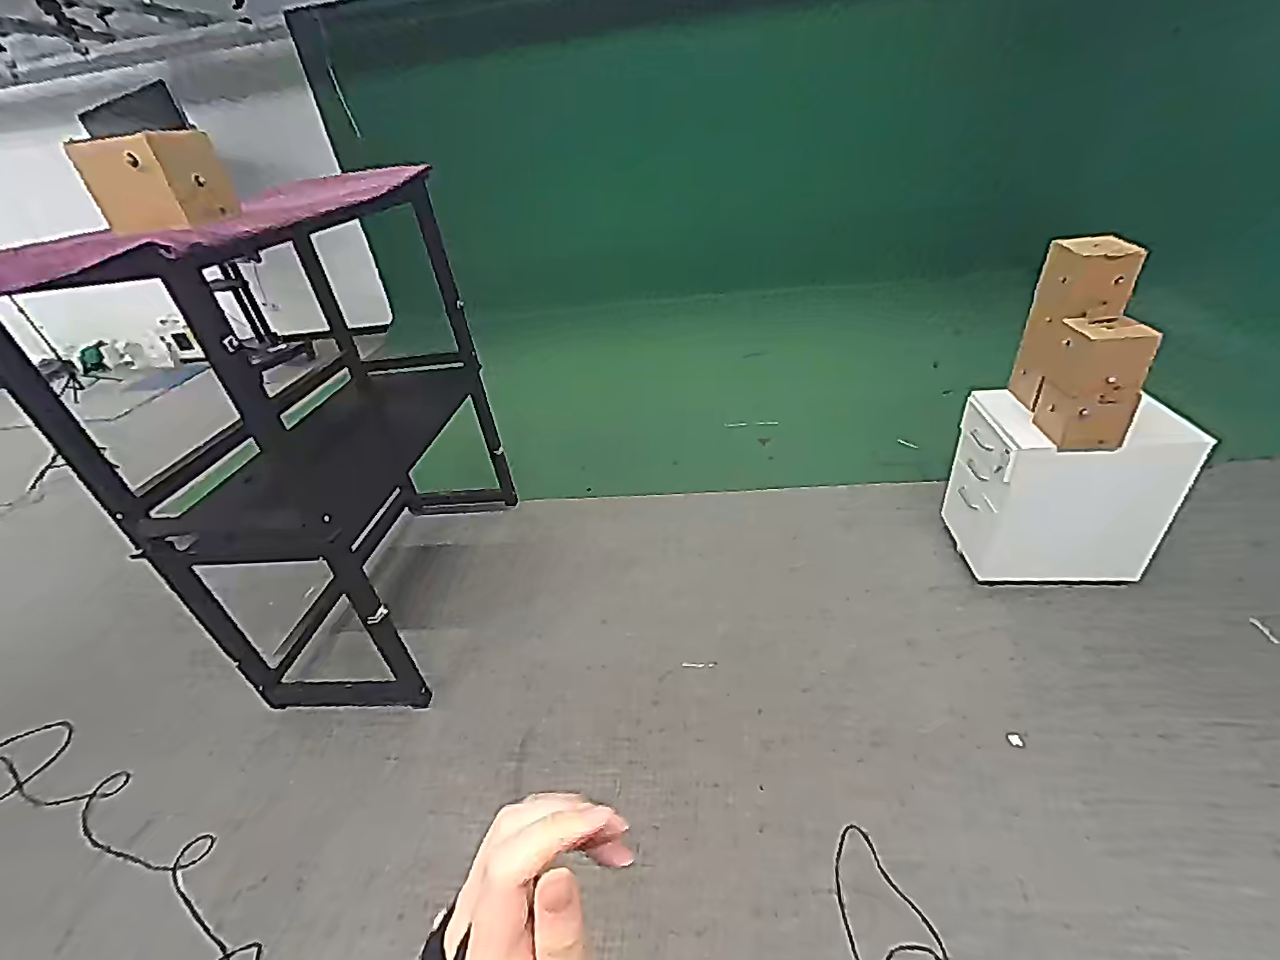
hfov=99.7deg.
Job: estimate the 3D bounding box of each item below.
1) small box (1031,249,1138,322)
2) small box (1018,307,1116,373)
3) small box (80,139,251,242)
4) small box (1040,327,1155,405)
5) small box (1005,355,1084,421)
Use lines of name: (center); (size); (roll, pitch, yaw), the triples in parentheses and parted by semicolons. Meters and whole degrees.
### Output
small box: (1.323, -0.580, 1.624); (0.168, 0.176, 0.179); (-1, 35, 7)
small box: (1.342, -0.447, 1.716); (0.168, 0.176, 0.179); (-1, 36, 9)
small box: (-0.976, -0.608, 1.134); (0.179, 0.176, 0.168); (-3, 32, 6)
small box: (1.283, -0.323, 1.535); (0.168, 0.176, 0.179); (-1, 33, 9)
small box: (1.362, -0.312, 1.807); (0.168, 0.176, 0.179); (-2, 35, 8)
